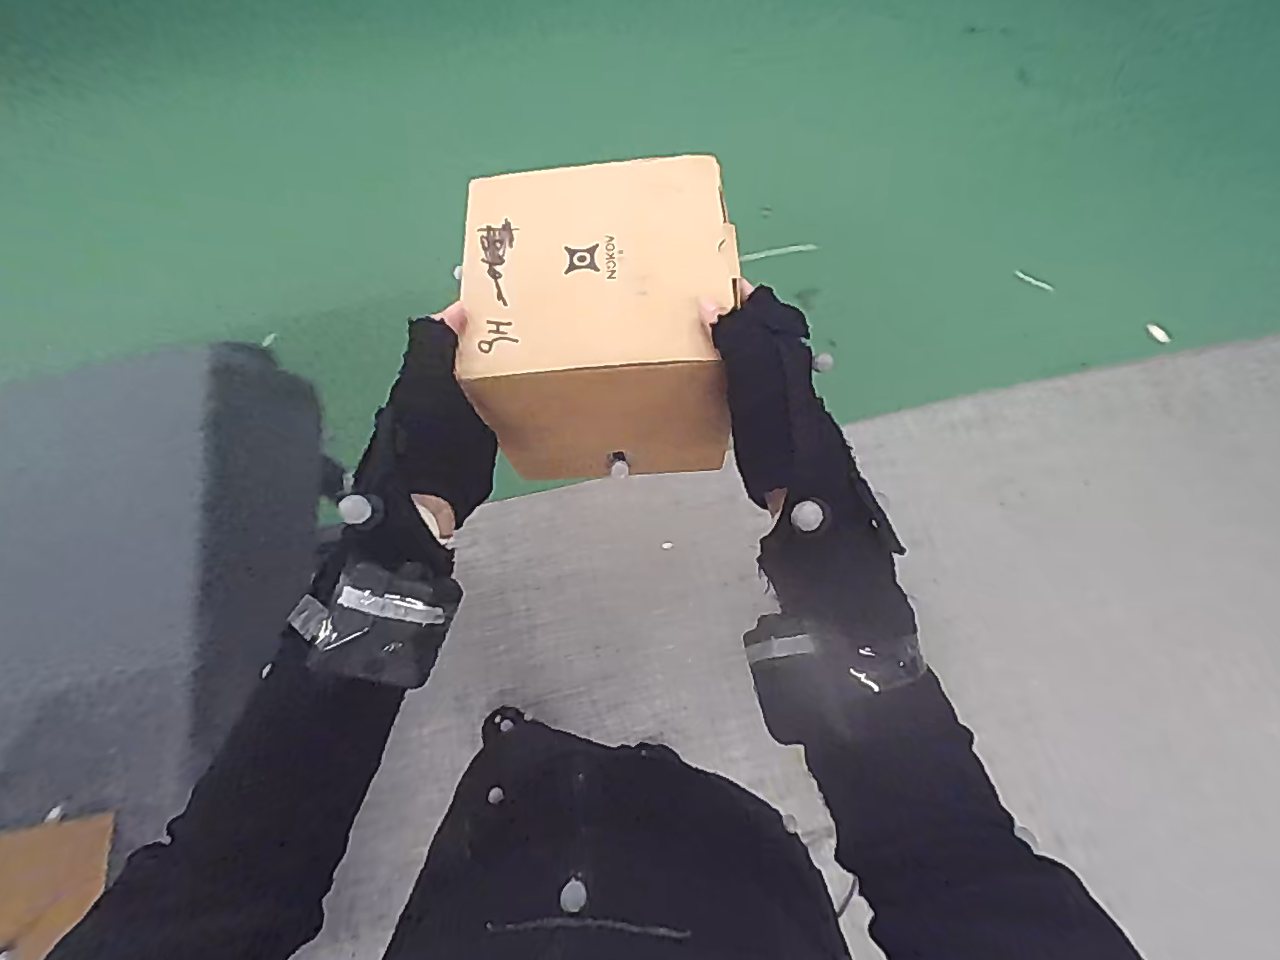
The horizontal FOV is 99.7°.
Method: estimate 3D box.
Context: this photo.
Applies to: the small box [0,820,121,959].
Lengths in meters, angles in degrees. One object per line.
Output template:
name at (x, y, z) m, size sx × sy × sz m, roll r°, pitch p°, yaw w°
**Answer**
small box at (-0.599, 0.402, 0.451) m, size 0.168 × 0.176 × 0.179 m, roll -10°, pitch 67°, yaw 0°
